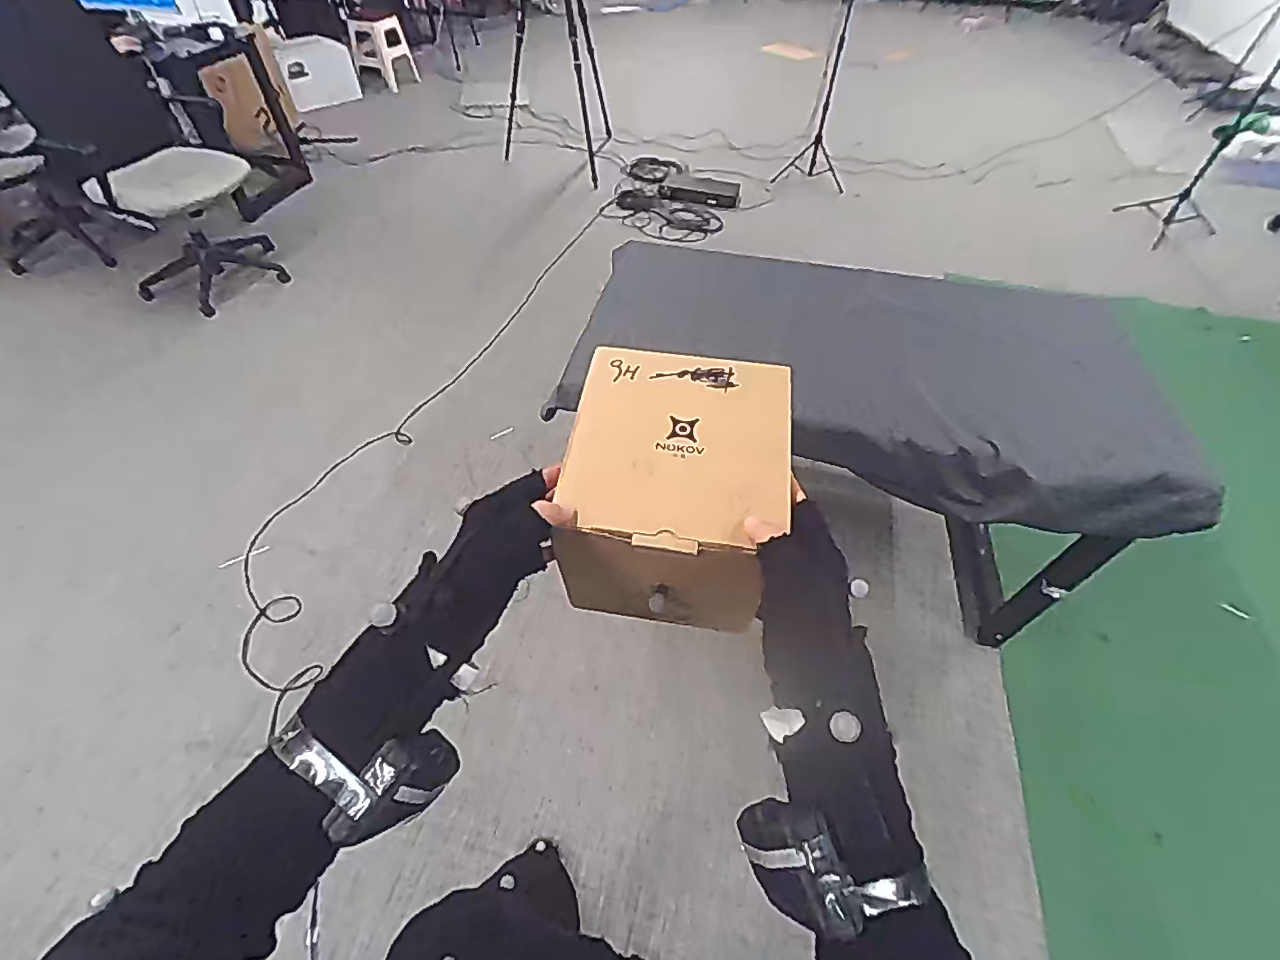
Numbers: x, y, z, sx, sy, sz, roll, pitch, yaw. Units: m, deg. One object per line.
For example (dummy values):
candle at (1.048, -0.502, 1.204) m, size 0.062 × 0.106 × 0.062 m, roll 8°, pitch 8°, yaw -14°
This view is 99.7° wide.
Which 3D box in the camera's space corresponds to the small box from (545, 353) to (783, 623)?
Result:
small box at (0.028, 0.014, 0.484) m, size 0.168 × 0.176 × 0.179 m, roll 7°, pitch 58°, yaw 6°
